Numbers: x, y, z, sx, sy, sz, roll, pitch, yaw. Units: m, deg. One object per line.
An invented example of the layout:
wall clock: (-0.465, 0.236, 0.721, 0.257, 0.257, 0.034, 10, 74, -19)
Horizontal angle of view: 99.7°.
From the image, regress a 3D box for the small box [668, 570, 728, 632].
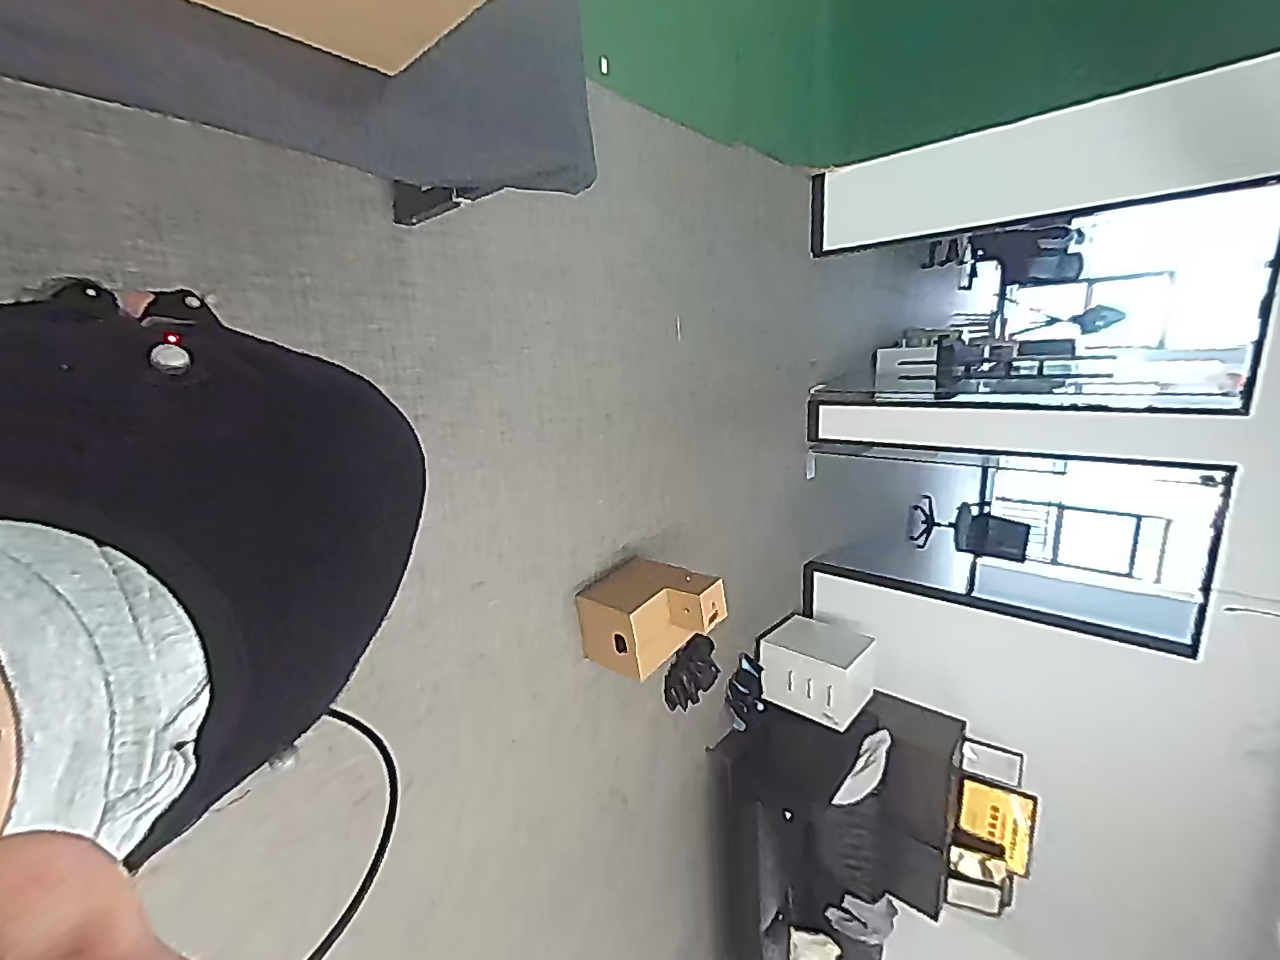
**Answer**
small box: (0.237, 0.489, 2.215, 0.168, 0.176, 0.179, -25, 111, -45)
